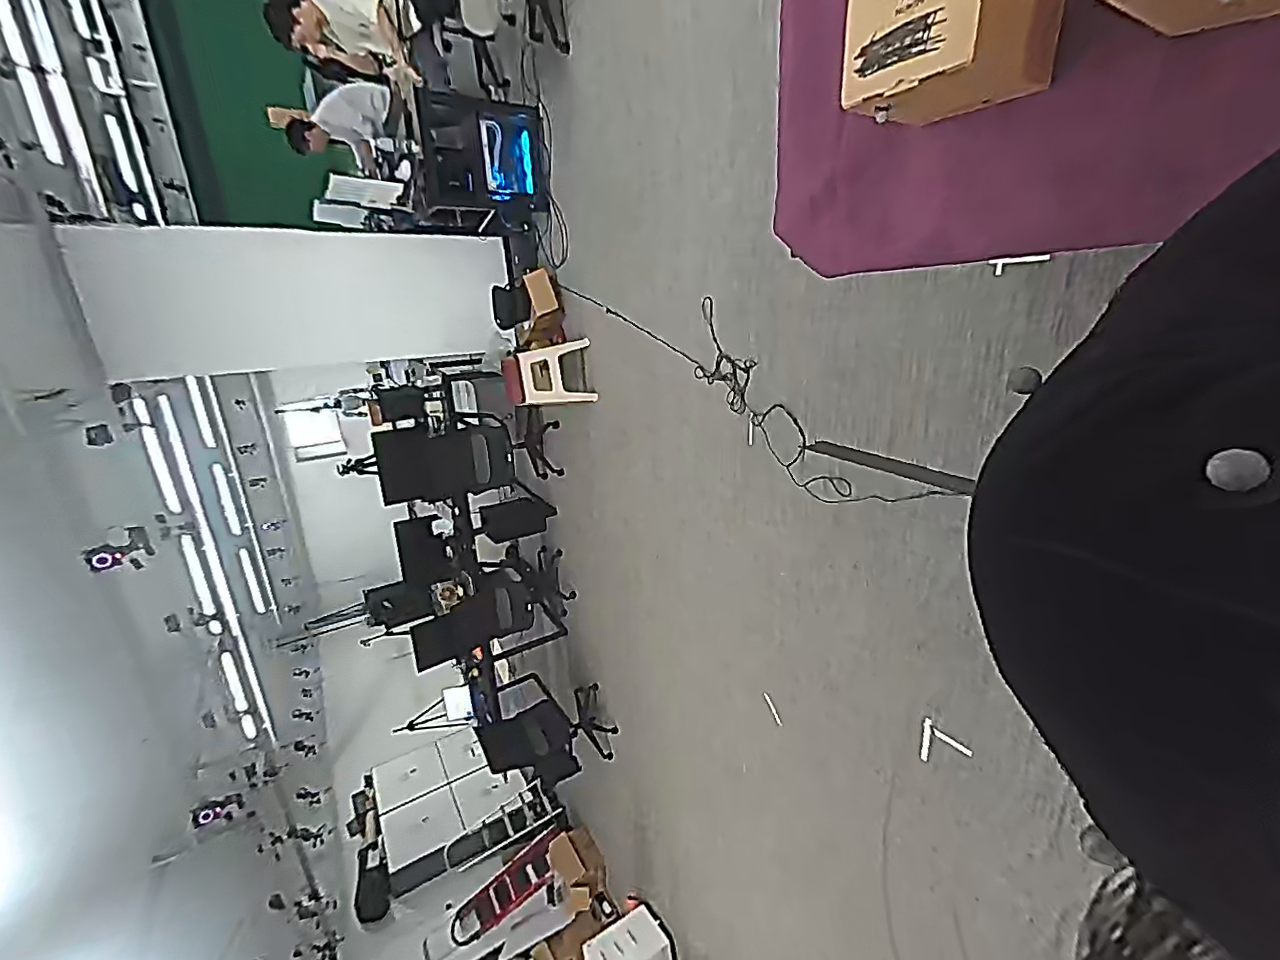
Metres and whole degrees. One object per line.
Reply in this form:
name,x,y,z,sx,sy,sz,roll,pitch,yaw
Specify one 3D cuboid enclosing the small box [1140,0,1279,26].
small box,0.507,-0.474,0.402,0.179,0.176,0.168,35,131,49
